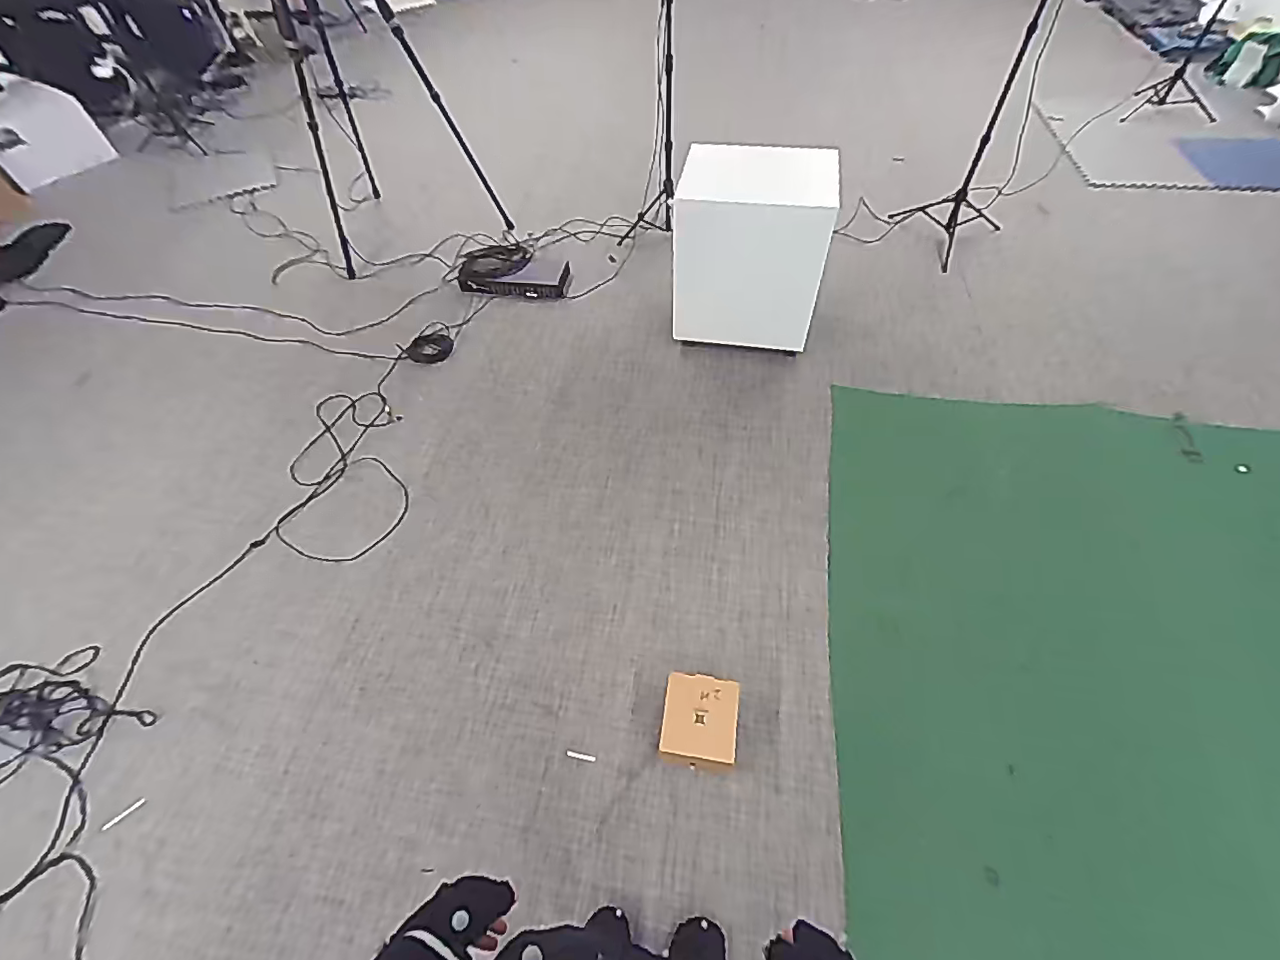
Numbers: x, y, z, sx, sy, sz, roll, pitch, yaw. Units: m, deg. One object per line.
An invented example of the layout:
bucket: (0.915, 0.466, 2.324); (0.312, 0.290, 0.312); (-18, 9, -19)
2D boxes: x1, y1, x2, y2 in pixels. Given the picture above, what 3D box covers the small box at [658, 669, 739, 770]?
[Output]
small box: (0.137, 0.569, 1.276); (0.168, 0.176, 0.179); (7, 55, 7)
